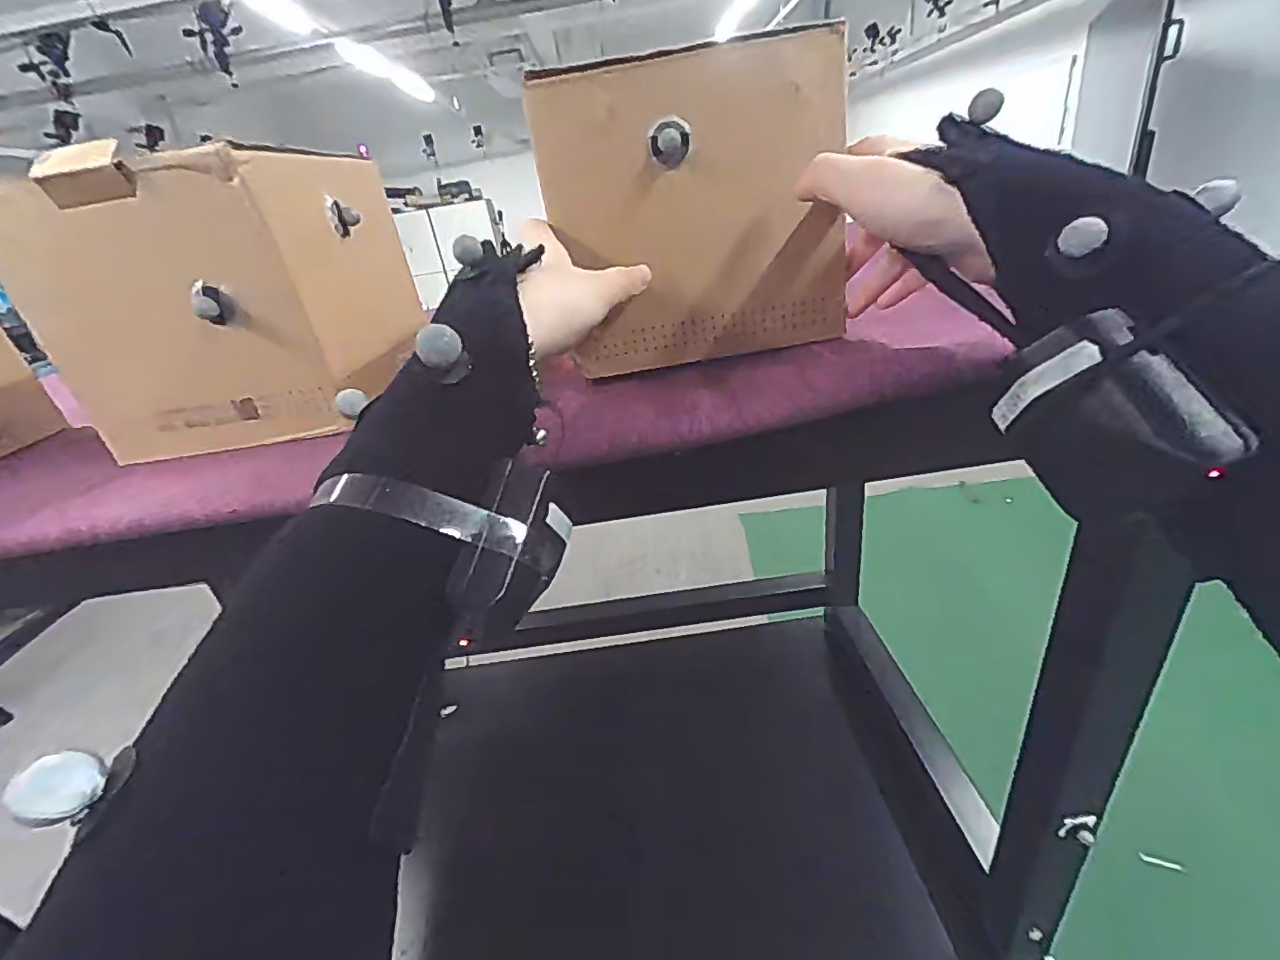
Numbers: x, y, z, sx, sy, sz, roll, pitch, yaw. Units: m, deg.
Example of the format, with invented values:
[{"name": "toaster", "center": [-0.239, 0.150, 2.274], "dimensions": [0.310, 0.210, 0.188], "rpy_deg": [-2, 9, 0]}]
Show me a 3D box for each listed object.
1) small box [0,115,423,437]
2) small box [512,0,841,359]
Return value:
[{"name": "small box", "center": [-0.279, -0.135, 0.384], "dimensions": [0.168, 0.176, 0.179], "rpy_deg": [-7, 27, 3]}, {"name": "small box", "center": [0.029, -0.191, 0.380], "dimensions": [0.179, 0.176, 0.168], "rpy_deg": [-9, 25, 2]}]
